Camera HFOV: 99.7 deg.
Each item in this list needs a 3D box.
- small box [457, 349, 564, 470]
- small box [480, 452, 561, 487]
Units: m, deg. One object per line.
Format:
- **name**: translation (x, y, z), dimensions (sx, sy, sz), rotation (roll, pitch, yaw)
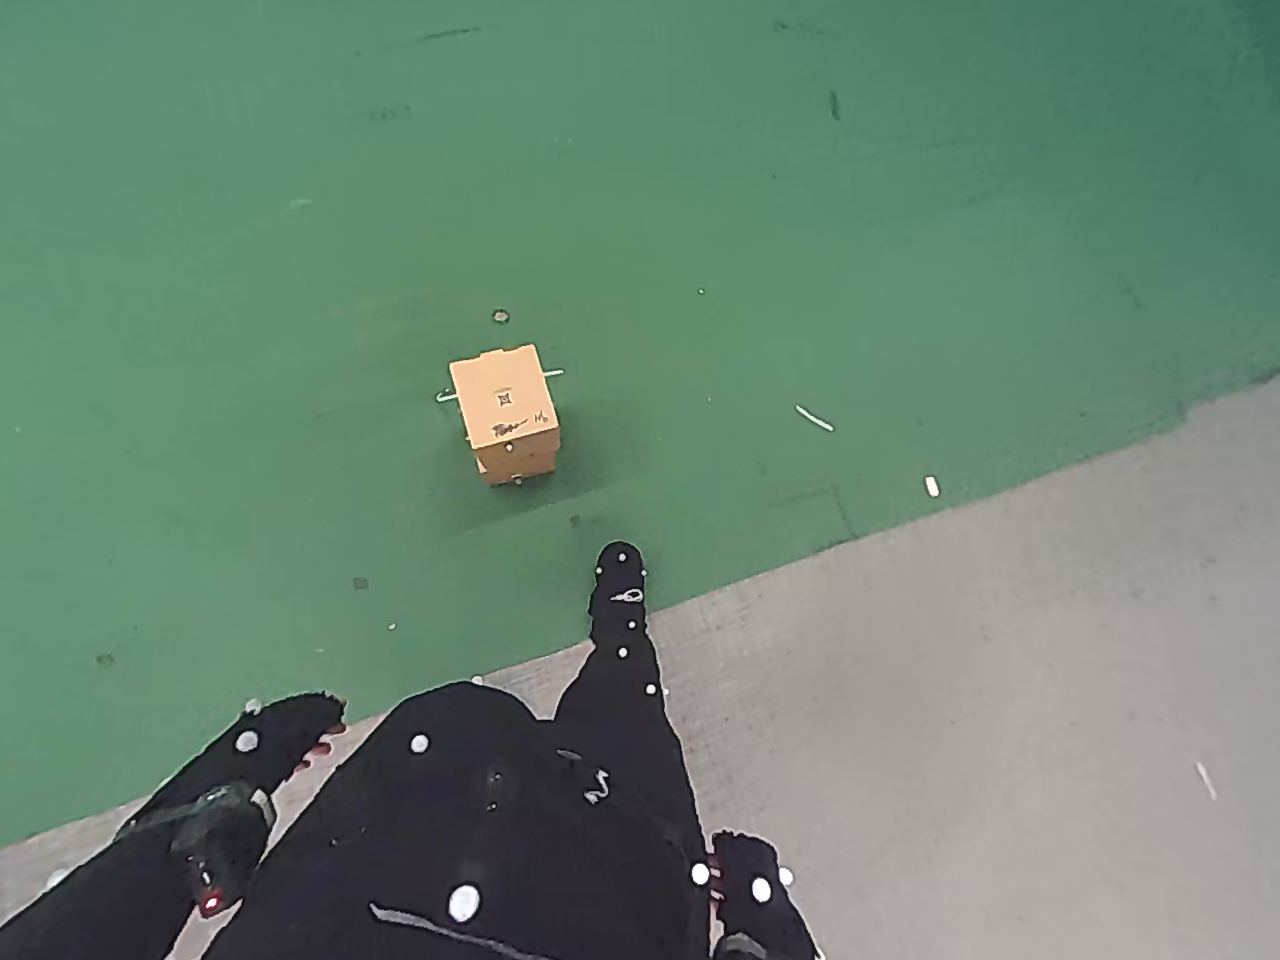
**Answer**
- **small box**: translation (-0.258, -0.137, 1.099), dimensions (0.168, 0.176, 0.179), rotation (-16, 80, -11)
- **small box**: translation (-0.287, -0.096, 1.255), dimensions (0.168, 0.176, 0.179), rotation (-16, 82, -10)
